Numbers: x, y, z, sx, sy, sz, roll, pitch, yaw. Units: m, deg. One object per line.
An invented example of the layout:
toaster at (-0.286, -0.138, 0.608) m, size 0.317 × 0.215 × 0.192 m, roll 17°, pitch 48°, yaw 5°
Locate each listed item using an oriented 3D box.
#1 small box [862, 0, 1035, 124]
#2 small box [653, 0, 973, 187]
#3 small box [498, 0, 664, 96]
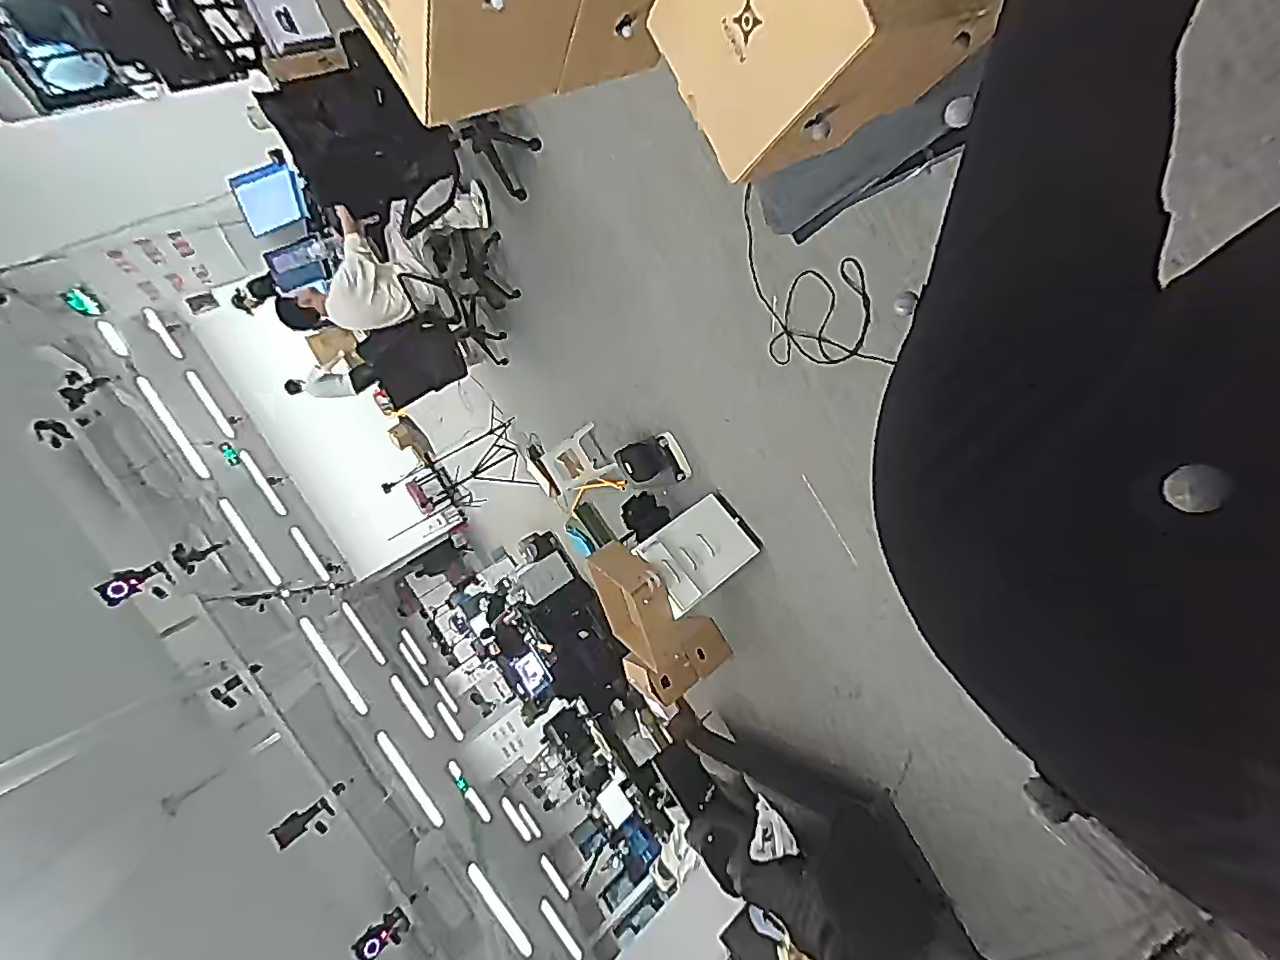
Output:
small box at (0.262, -0.491, 0.532) m, size 0.168 × 0.176 × 0.179 m, roll 61°, pitch 156°, yaw -8°
small box at (0.148, -0.399, 0.462) m, size 0.168 × 0.176 × 0.179 m, roll 59°, pitch 157°, yaw -7°
small box at (-0.048, -0.585, 0.599) m, size 0.168 × 0.176 × 0.179 m, roll 57°, pitch 157°, yaw -3°
